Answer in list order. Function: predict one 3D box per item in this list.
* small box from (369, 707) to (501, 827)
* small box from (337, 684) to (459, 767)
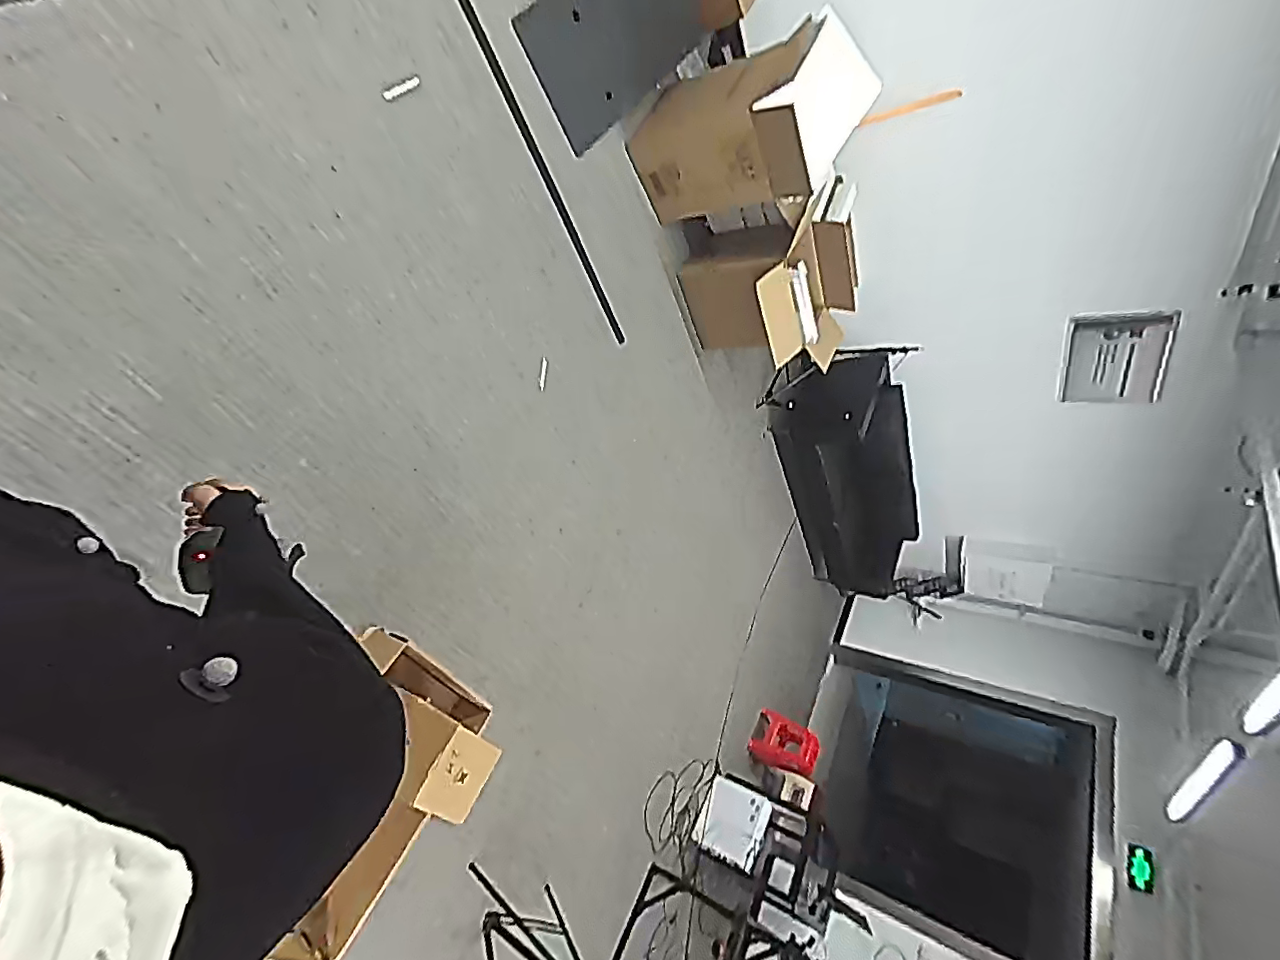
[{"bbox_3d":[-0.456,0.635,1.210,0.168,0.176,0.179,-60,139,-30],"label":"small box"},{"bbox_3d":[-0.586,0.617,1.310,0.168,0.176,0.179,-59,139,-31],"label":"small box"}]
